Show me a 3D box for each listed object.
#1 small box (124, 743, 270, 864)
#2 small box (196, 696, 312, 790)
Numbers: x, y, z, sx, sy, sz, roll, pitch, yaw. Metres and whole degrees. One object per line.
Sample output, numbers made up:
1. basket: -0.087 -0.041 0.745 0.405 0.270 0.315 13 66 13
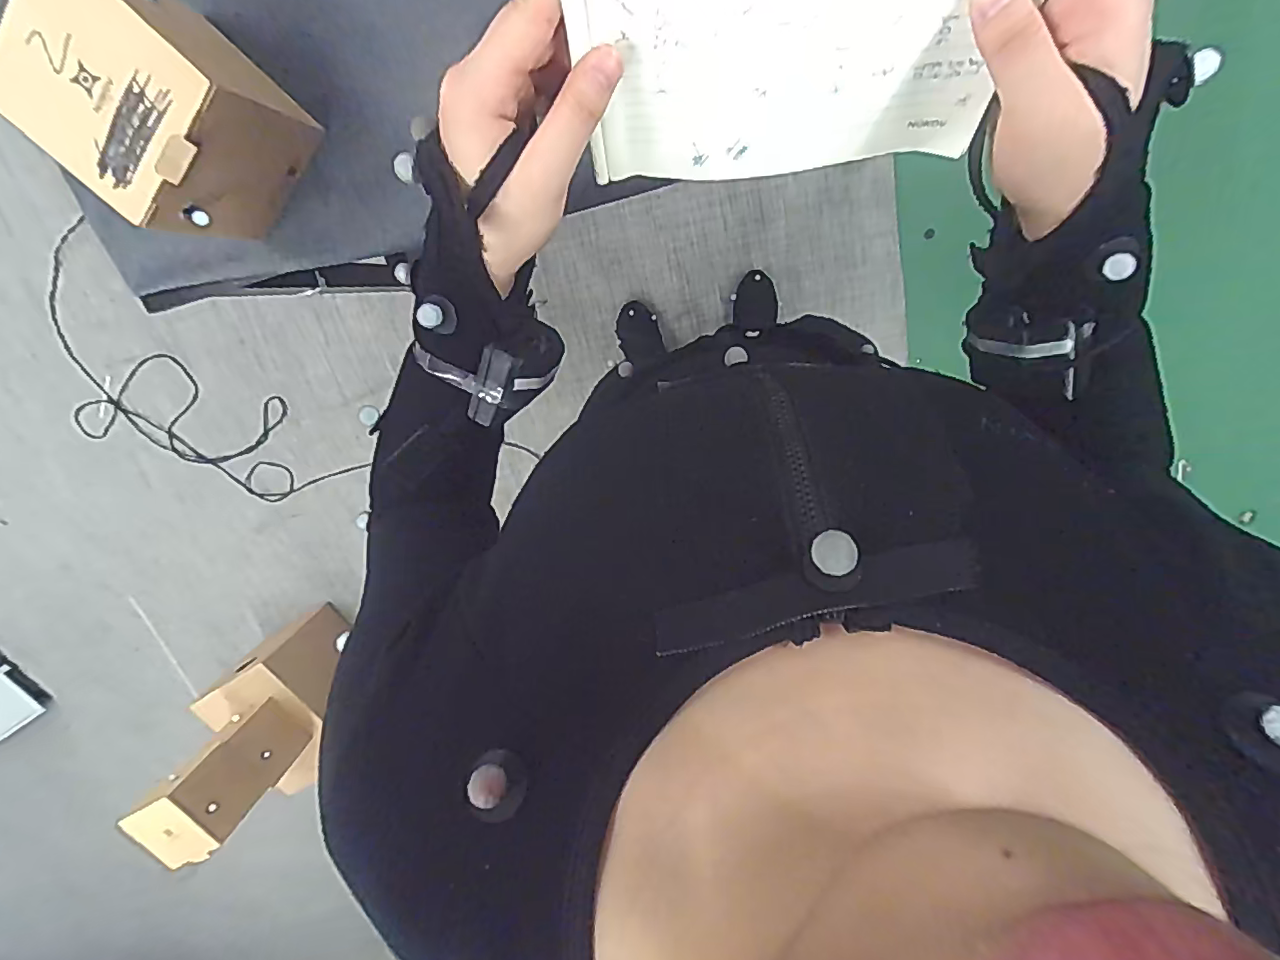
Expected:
1. small box: -1.066 0.774 1.317 0.168 0.176 0.179 -30 106 12
2. small box: -1.050 0.731 1.473 0.168 0.176 0.179 -30 105 13
